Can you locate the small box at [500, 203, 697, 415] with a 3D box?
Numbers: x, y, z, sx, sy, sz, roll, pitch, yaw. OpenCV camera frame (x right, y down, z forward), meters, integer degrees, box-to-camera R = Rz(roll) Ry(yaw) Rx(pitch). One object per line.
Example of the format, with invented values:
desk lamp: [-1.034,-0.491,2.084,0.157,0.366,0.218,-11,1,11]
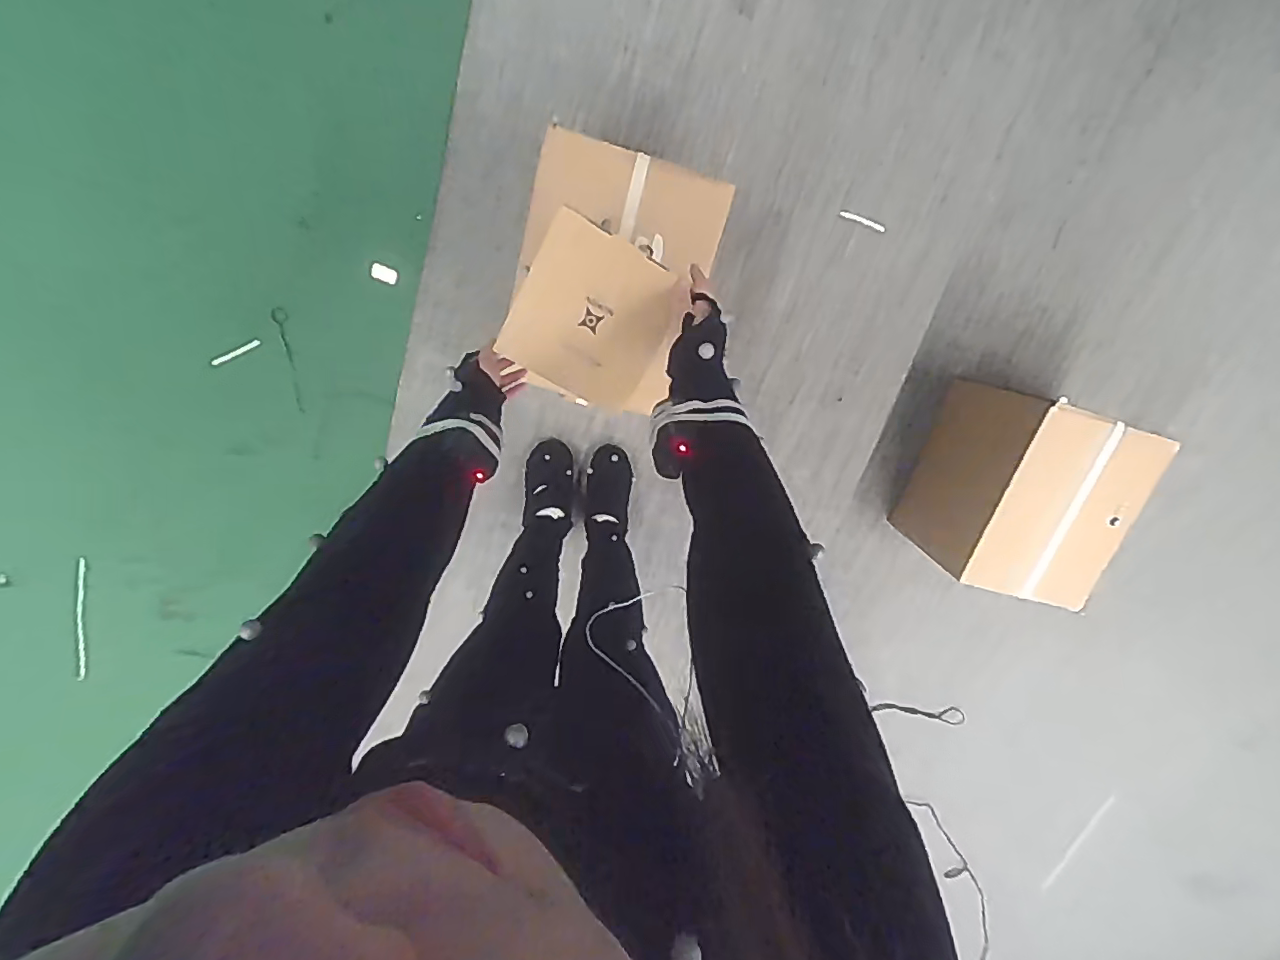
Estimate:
small box: [-0.054,-0.212,0.679,0.168,0.176,0.179,28,107,-13]

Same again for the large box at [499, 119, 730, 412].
large box: [-0.059,-0.385,1.047,0.320,0.320,0.408,14,108,-9]
